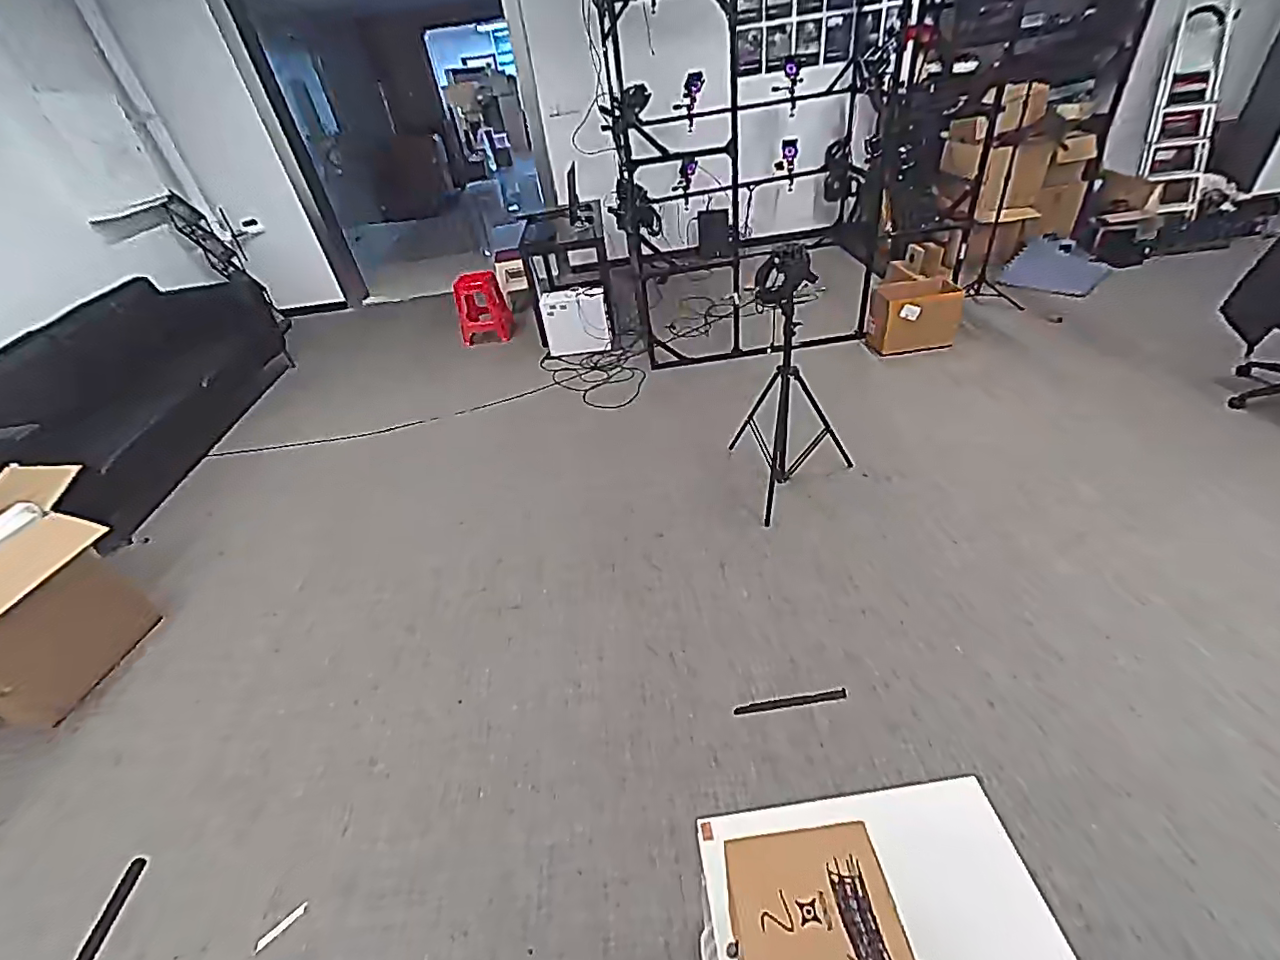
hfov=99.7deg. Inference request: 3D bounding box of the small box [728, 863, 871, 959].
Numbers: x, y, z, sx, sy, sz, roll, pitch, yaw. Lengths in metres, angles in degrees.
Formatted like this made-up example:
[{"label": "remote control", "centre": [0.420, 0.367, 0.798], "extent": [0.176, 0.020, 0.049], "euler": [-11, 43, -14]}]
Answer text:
[{"label": "small box", "centre": [0.221, 0.667, 0.748], "extent": [0.168, 0.176, 0.179], "euler": [-8, 38, 0]}]
